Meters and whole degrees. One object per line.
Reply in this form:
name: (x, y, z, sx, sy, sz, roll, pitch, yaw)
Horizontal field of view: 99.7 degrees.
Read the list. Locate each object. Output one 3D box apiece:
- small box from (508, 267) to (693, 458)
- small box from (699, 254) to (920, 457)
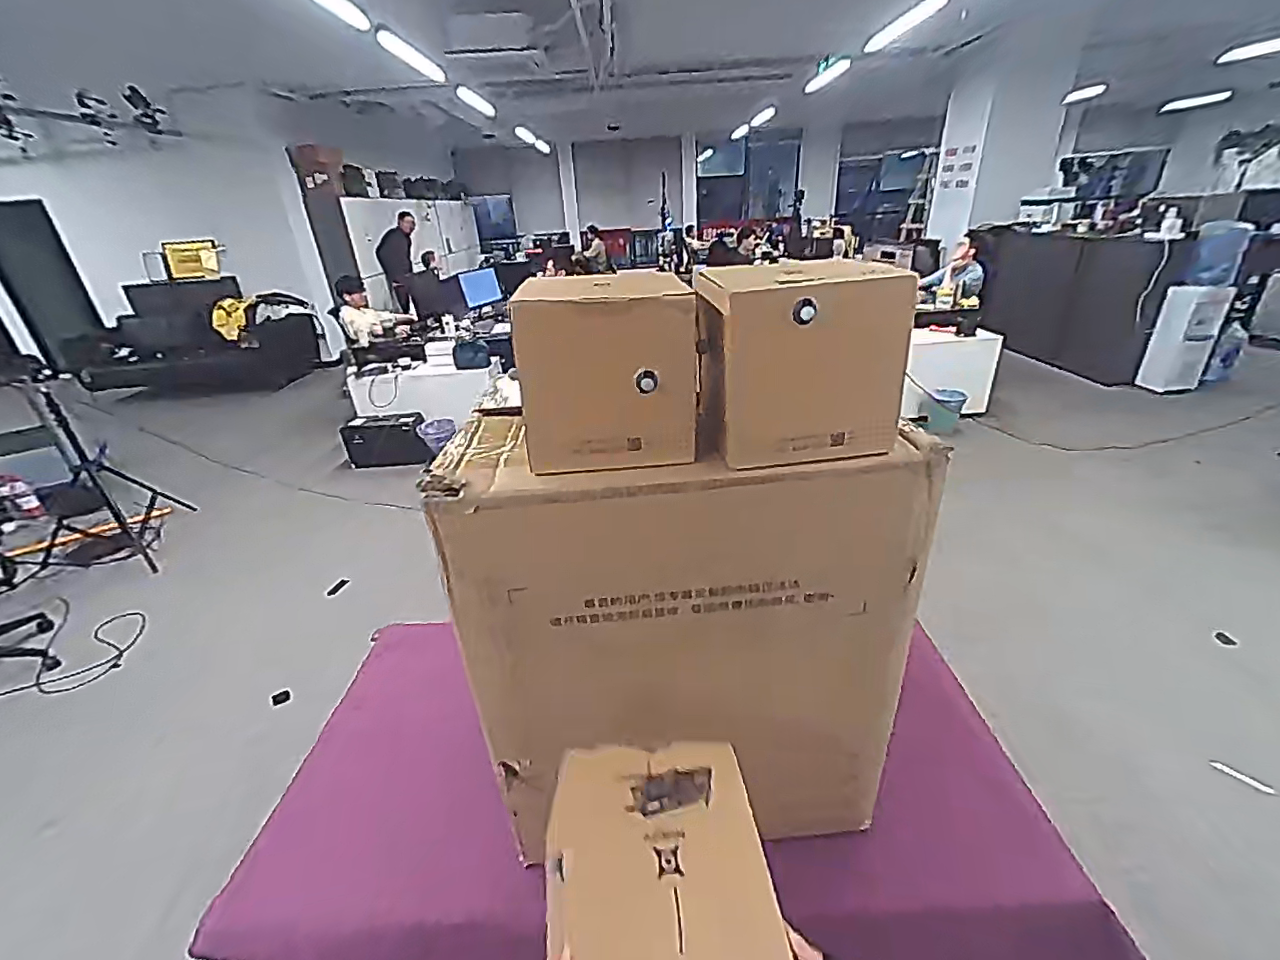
small box: (-0.036, -0.127, 0.575, 0.168, 0.176, 0.179, -3, 25, -4)
small box: (0.155, -0.135, 0.561, 0.168, 0.176, 0.179, -6, 26, -2)
